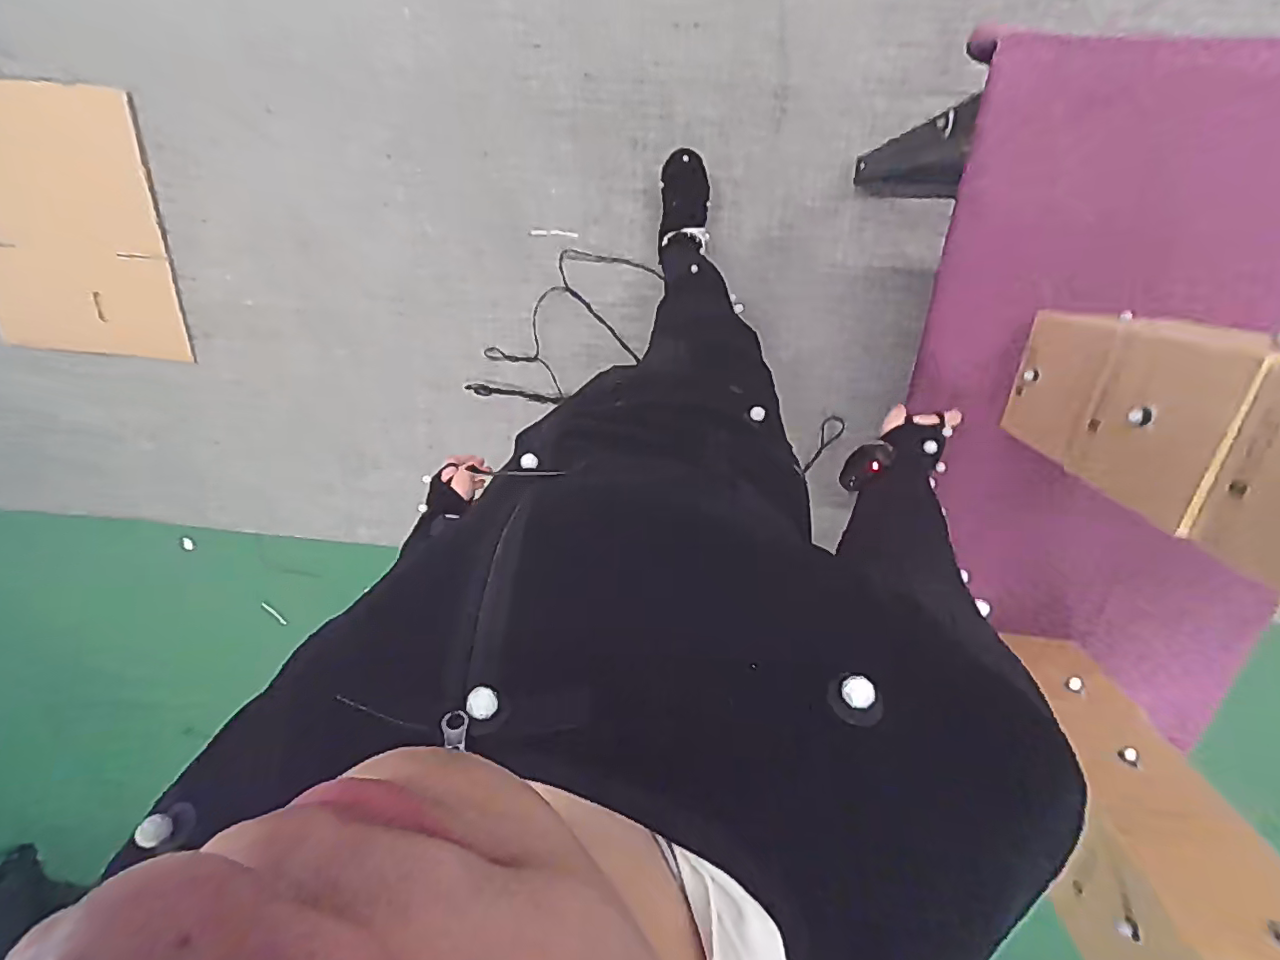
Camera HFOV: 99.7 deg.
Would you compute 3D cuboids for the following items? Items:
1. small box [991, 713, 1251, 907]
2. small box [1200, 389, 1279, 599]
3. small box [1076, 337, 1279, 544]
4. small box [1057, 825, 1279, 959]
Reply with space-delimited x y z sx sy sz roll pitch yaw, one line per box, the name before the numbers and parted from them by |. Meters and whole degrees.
small box | 0.614 0.438 0.723 0.179 0.176 0.168 3 112 3
small box | 0.576 0.025 0.372 0.179 0.176 0.168 4 113 4
small box | 0.583 -0.040 0.523 0.179 0.176 0.168 6 114 4
small box | 0.601 0.503 0.575 0.179 0.176 0.168 3 111 3
